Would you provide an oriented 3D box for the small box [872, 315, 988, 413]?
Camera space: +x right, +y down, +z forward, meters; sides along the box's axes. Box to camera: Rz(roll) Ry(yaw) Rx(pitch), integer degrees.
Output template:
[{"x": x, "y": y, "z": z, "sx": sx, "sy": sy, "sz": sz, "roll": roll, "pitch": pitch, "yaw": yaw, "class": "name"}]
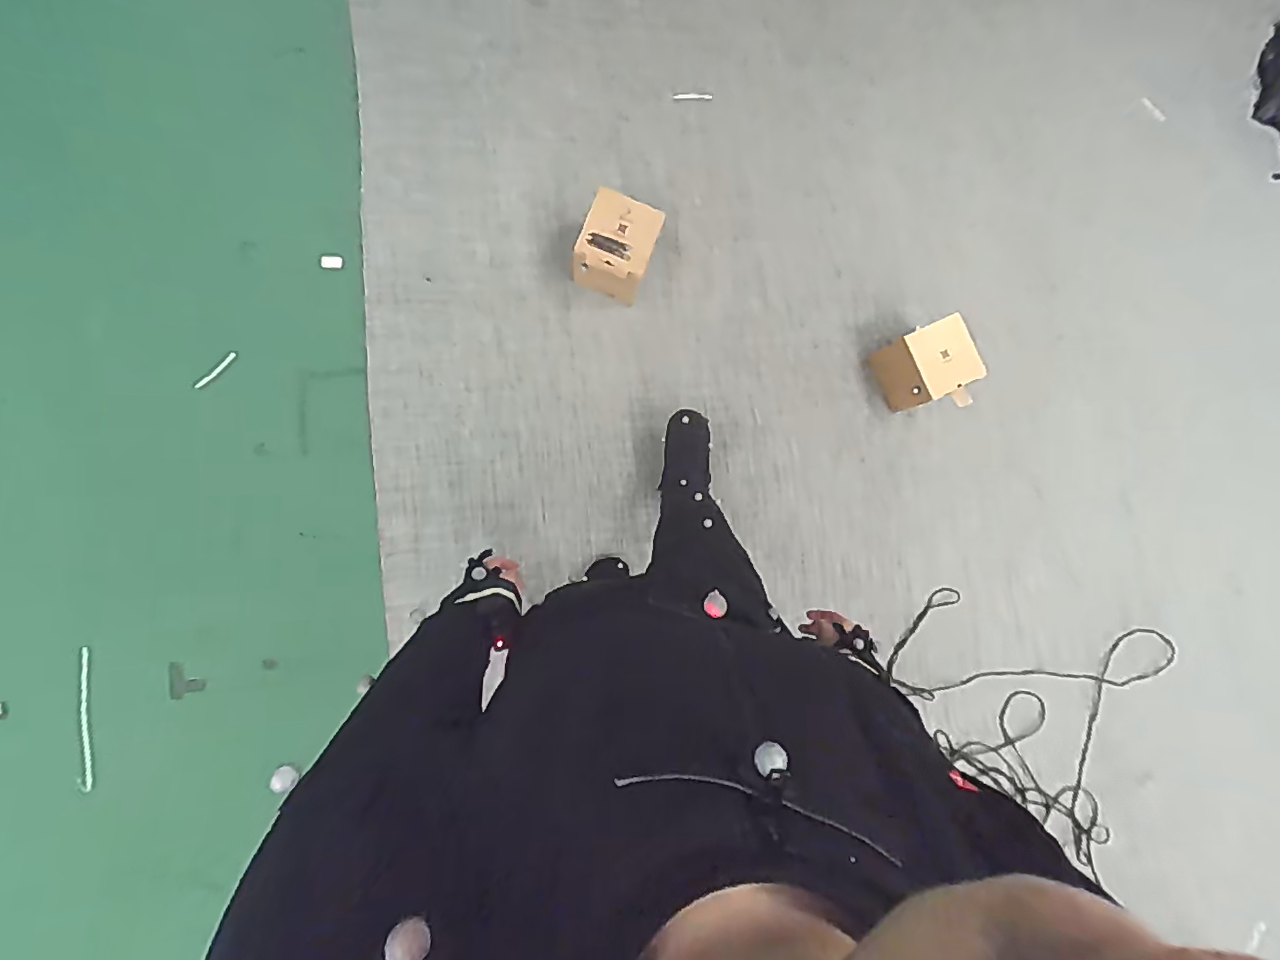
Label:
[{"x": 0.740, "y": -0.292, "z": 1.398, "sx": 0.168, "sy": 0.176, "sz": 0.179, "roll": -25, "pitch": 90, "yaw": -8, "class": "small box"}]
